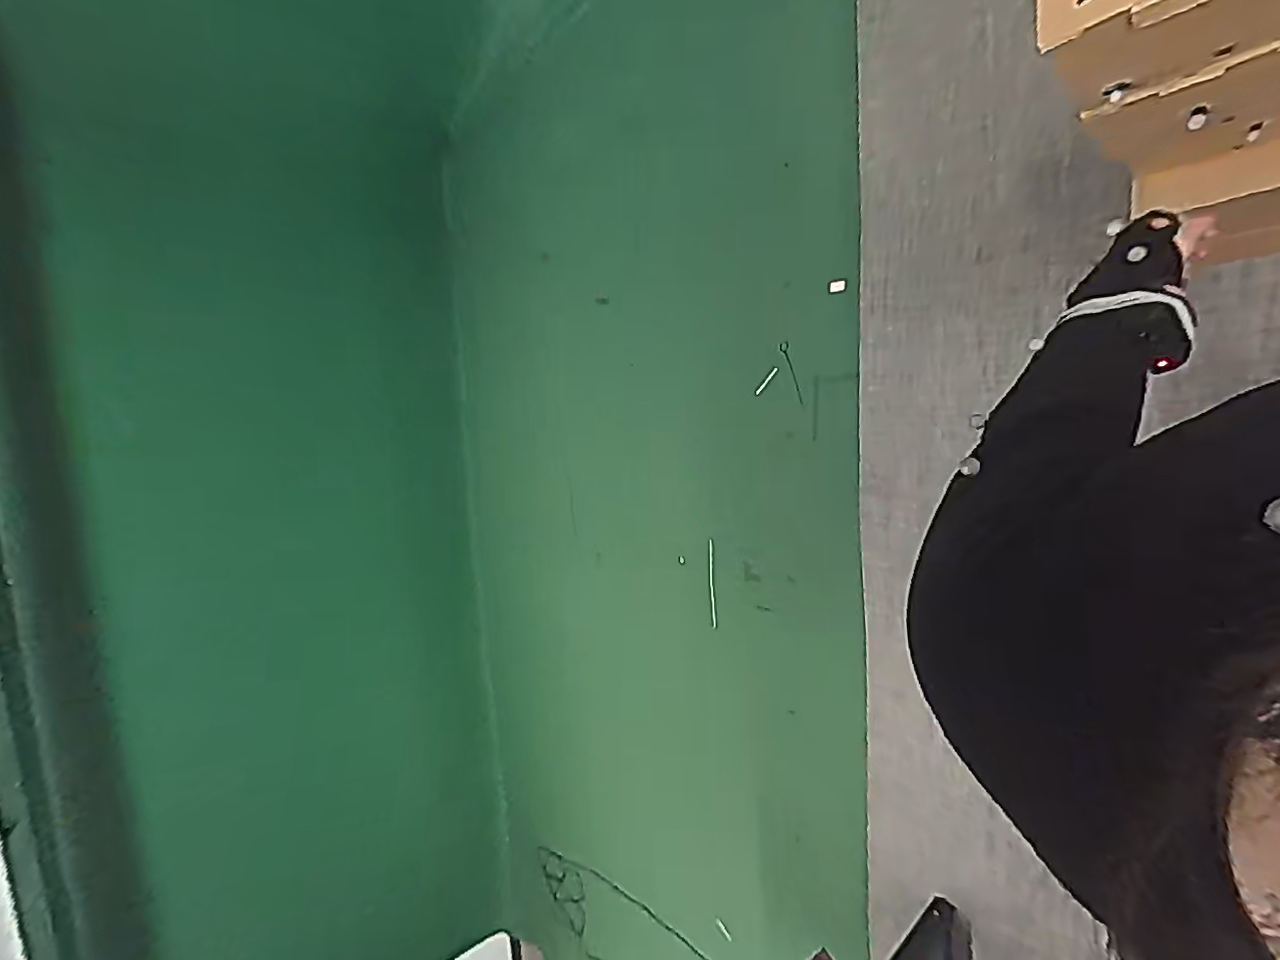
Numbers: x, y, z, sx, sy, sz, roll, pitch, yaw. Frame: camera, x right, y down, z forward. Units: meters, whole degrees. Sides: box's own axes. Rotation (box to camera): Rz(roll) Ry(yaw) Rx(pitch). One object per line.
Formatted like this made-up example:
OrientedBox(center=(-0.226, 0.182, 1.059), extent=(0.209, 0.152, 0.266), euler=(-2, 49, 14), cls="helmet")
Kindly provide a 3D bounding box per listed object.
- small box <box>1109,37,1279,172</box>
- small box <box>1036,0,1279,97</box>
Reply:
OrientedBox(center=(0.696, -0.498, 0.653), extent=(0.168, 0.176, 0.179), euler=(6, 102, 49), cls="small box")
OrientedBox(center=(0.447, -0.454, 0.443), extent=(0.168, 0.176, 0.179), euler=(3, 98, 49), cls="small box")
